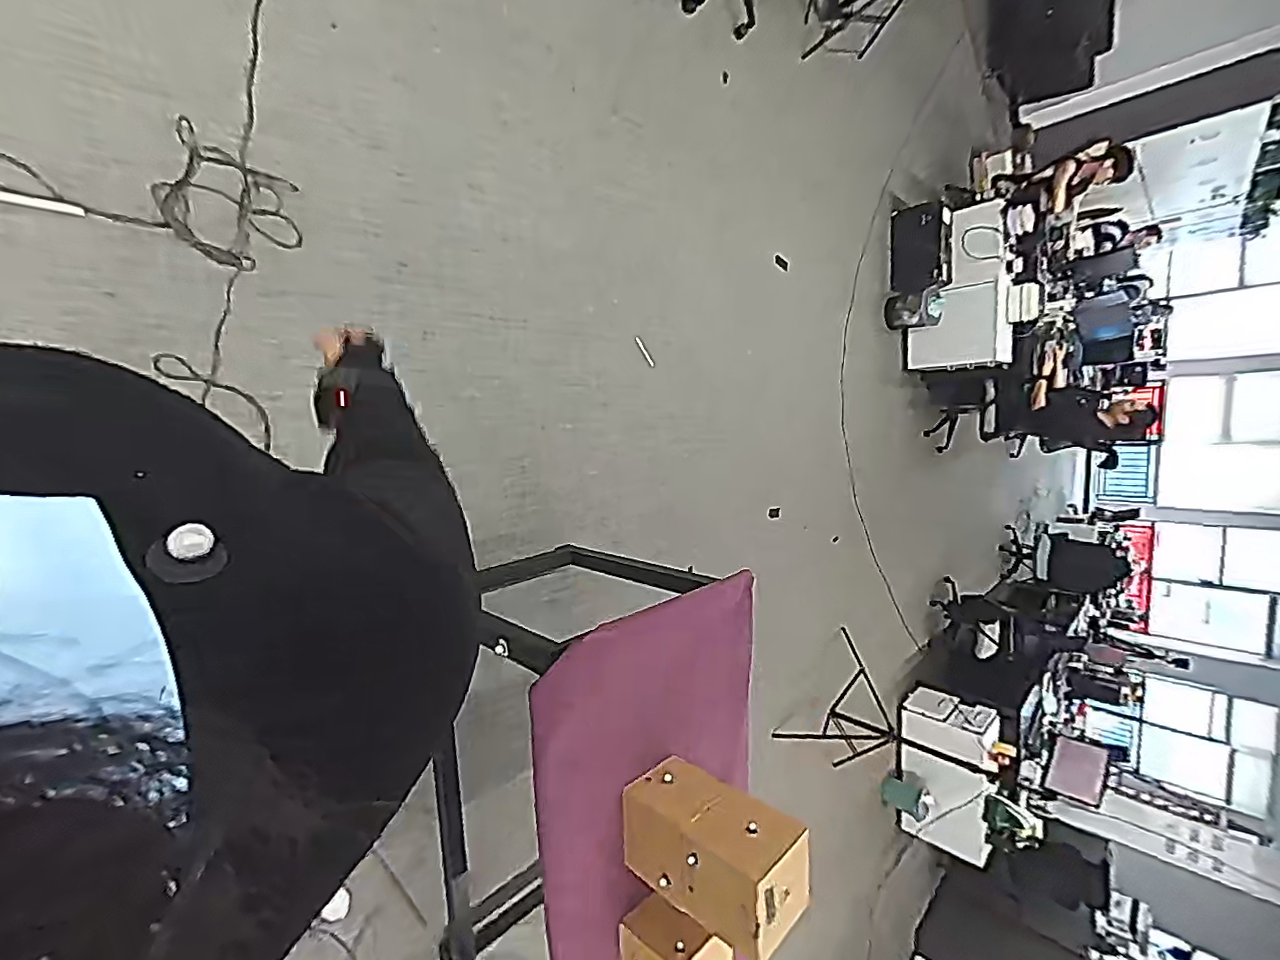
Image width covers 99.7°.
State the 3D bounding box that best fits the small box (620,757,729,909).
[{"bbox_3d":[0.071,0.728,1.138,0.168,0.176,0.179,-7,98,-45],"label":"small box"}]

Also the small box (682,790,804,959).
[{"bbox_3d":[0.192,0.737,1.027,0.179,0.176,0.168,-9,100,-45],"label":"small box"}]

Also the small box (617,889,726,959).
[{"bbox_3d":[0.068,1.009,1.159,0.179,0.176,0.168,-7,98,-45],"label":"small box"}]
